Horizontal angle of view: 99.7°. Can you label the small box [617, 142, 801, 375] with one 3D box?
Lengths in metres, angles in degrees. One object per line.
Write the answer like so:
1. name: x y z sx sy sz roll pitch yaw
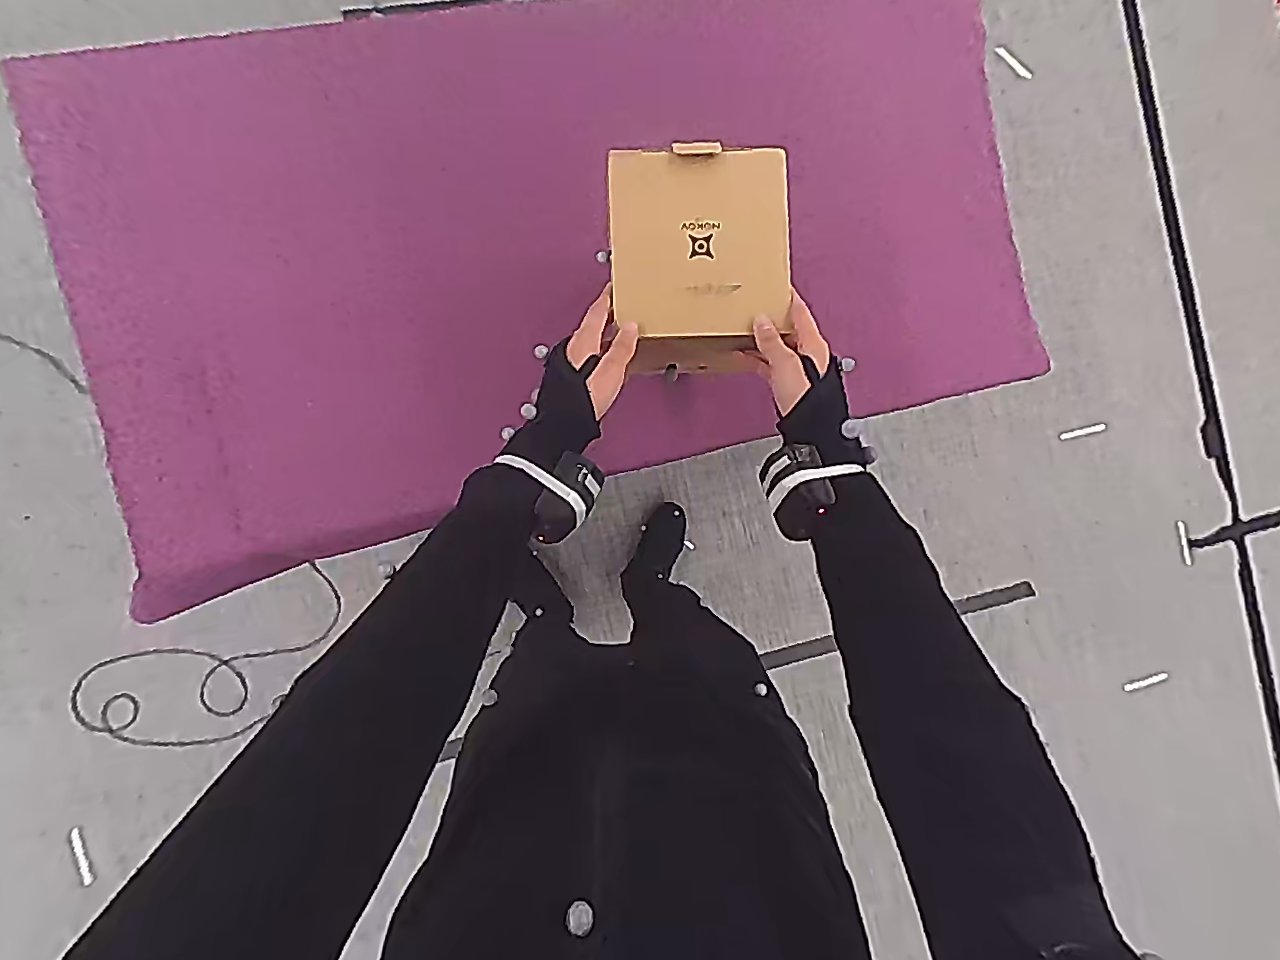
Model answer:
1. small box: 0.060 -0.216 0.567 0.168 0.176 0.179 -1 90 -2
